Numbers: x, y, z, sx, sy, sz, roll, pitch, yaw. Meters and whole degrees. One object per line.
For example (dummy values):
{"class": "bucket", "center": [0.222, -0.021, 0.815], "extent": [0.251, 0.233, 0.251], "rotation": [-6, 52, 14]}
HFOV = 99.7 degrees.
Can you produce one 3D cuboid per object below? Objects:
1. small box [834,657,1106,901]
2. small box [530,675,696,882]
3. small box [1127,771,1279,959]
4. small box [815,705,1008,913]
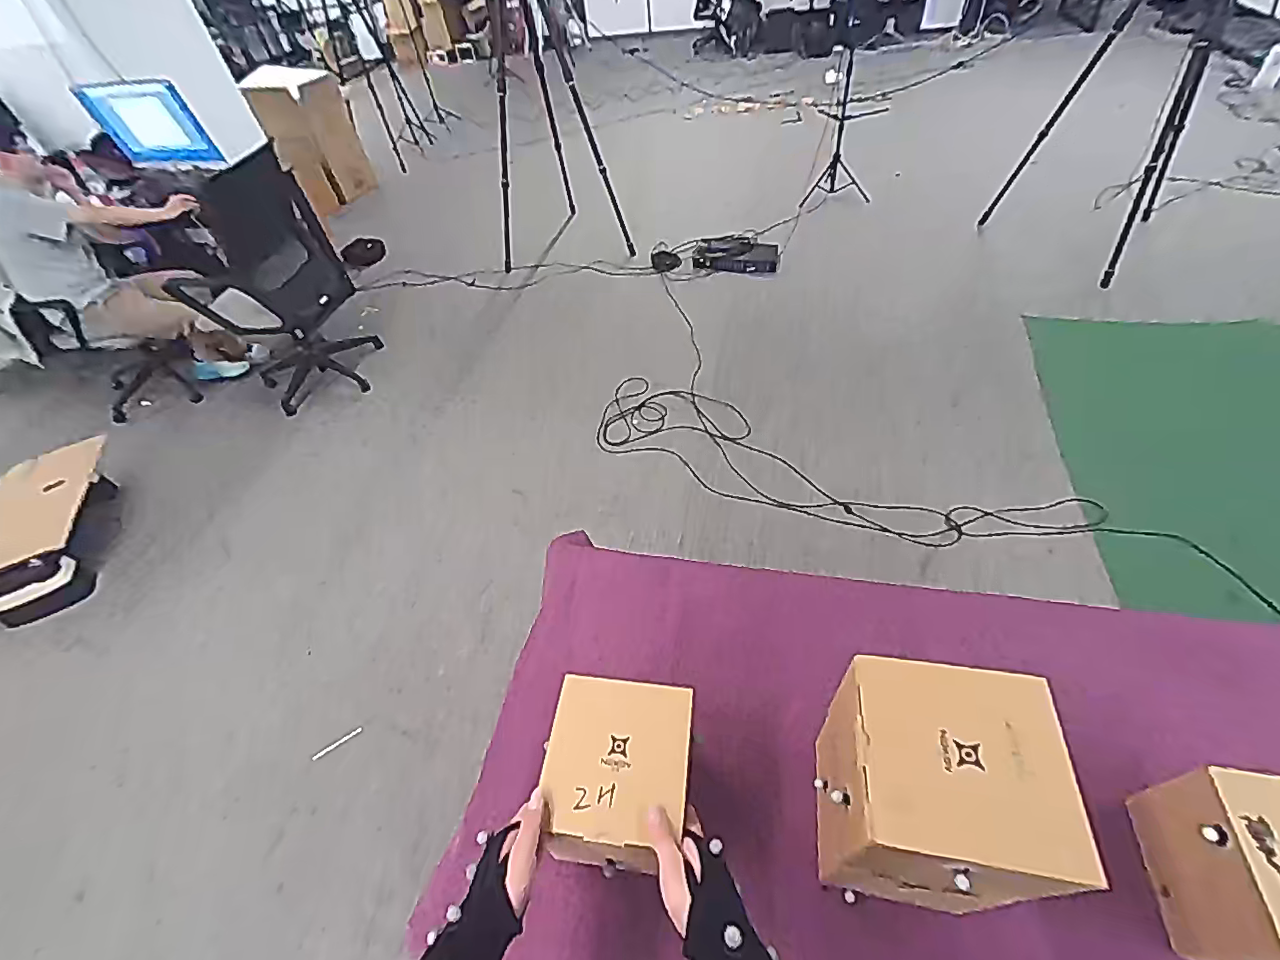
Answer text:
{"class": "small box", "center": [0.295, 0.299, 0.538], "extent": [0.179, 0.176, 0.168], "rotation": [5, 50, 11]}
{"class": "small box", "center": [-0.022, 0.370, 0.673], "extent": [0.168, 0.176, 0.179], "rotation": [4, 47, 8]}
{"class": "small box", "center": [0.693, 0.439, 0.580], "extent": [0.179, 0.176, 0.168], "rotation": [5, 49, 12]}
{"class": "small box", "center": [0.312, 0.404, 0.662], "extent": [0.168, 0.176, 0.179], "rotation": [5, 49, 11]}
